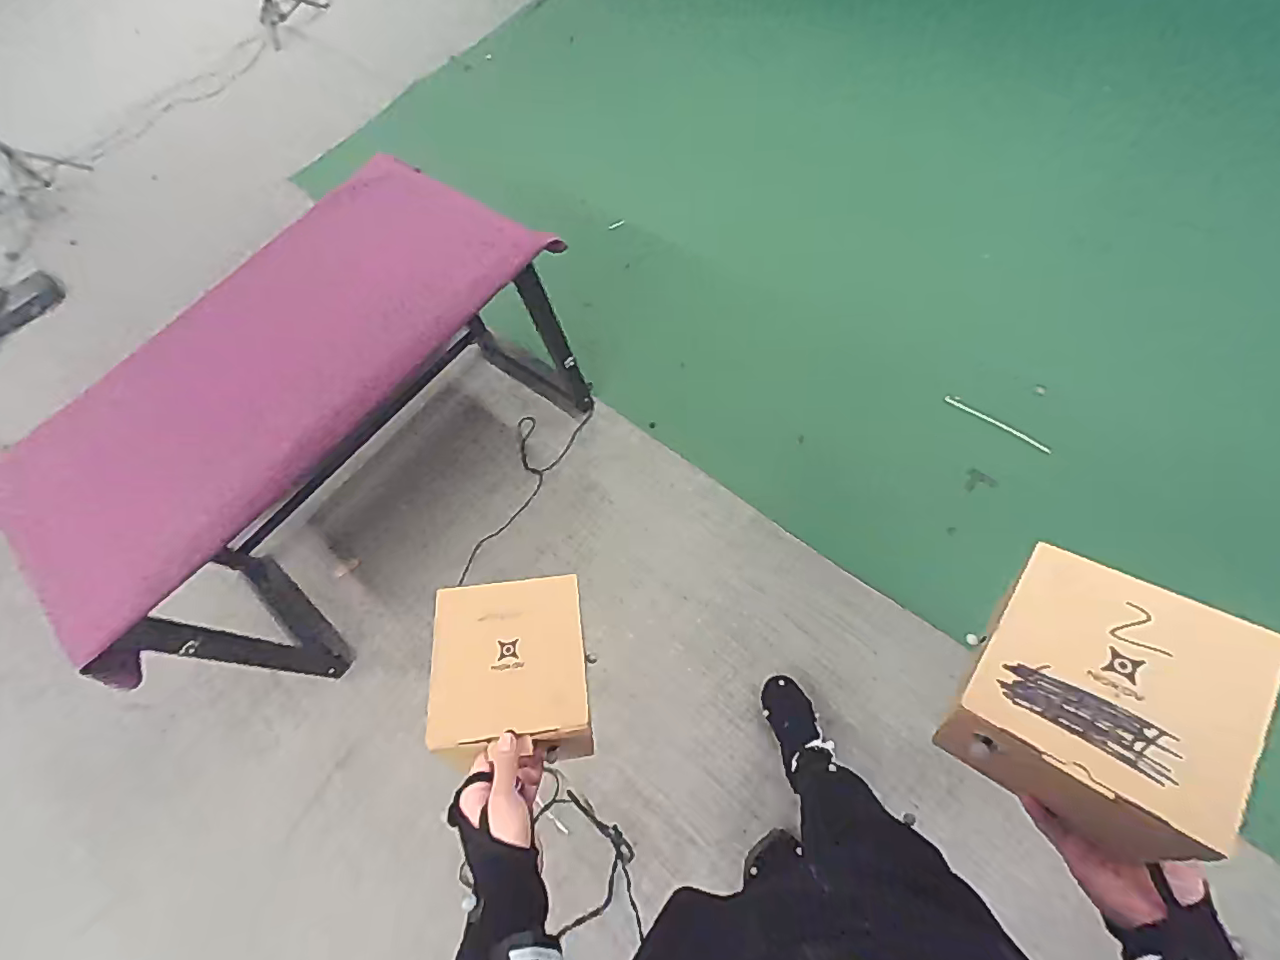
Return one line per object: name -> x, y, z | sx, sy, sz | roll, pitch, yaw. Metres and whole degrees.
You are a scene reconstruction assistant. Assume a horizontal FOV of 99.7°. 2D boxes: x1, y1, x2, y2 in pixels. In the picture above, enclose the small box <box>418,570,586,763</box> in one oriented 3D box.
small box -> -0.156, 0.232, 0.658 | 0.168, 0.176, 0.179 | -5, 54, -7
